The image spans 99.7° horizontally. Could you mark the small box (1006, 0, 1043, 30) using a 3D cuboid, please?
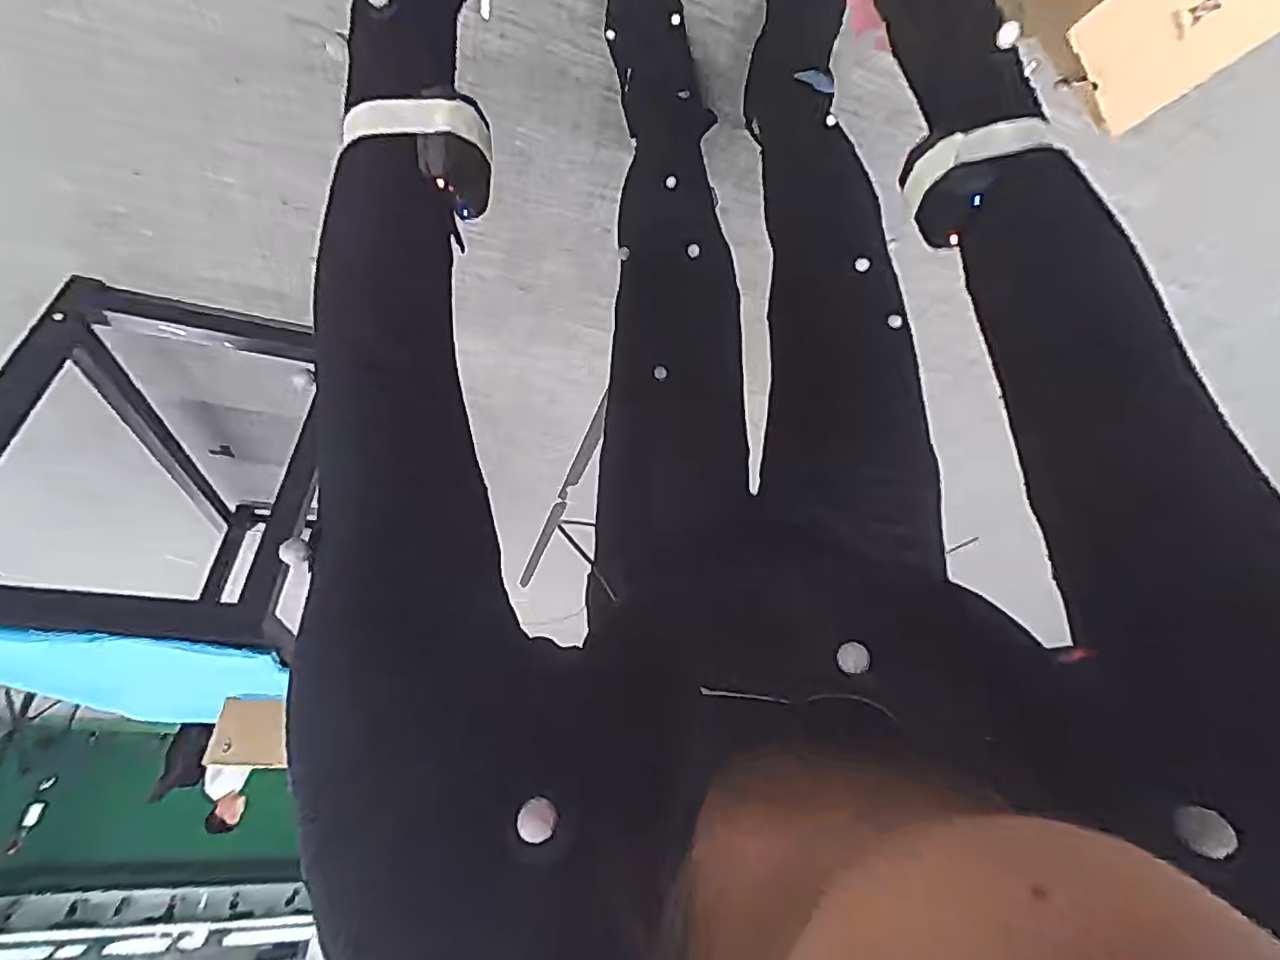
[{"bbox_3d":[0.517,-0.660,0.604,0.179,0.176,0.168,-8,150,13],"label":"small box"}]

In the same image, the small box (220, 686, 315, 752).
[{"bbox_3d":[-1.094,0.709,1.604,0.179,0.176,0.168,8,151,-17],"label":"small box"}]

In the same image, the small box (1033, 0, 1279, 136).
[{"bbox_3d":[0.519,-0.508,0.538,0.168,0.176,0.179,21,145,-36],"label":"small box"}]
